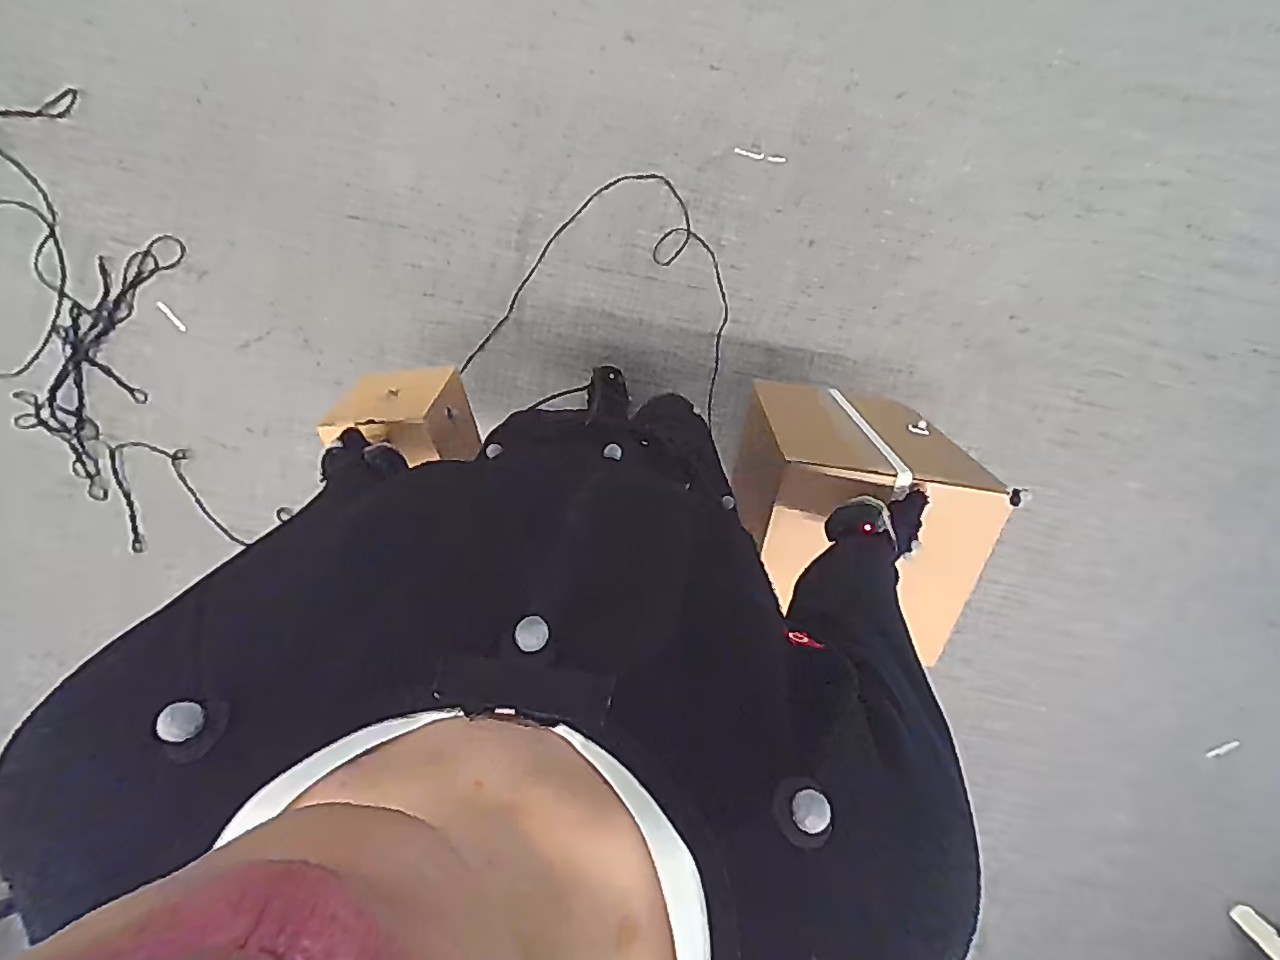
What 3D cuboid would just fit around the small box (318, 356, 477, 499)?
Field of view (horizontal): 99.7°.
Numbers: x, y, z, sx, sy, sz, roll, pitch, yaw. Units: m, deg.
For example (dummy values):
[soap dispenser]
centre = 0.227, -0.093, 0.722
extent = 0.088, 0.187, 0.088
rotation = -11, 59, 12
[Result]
[small box]
centre = -0.383, -0.088, 0.896
extent = 0.168, 0.179, 0.176
rotation = -4, 129, 3
